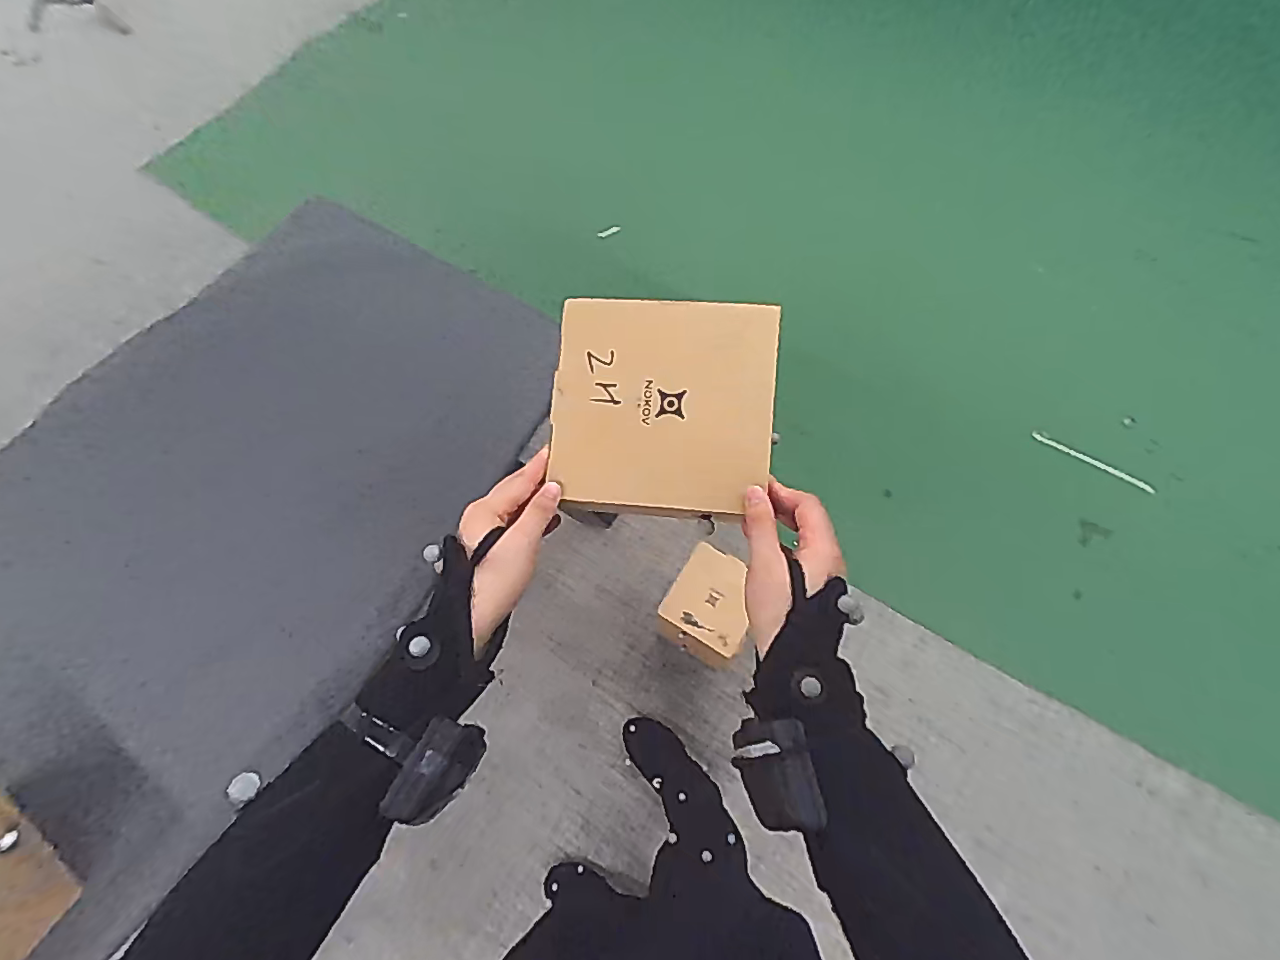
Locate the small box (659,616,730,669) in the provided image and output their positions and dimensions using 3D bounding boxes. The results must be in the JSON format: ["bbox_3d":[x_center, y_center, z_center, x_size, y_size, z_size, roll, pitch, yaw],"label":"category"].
[{"bbox_3d":[0.160,0.327,1.271,0.179,0.176,0.168,28,71,15],"label":"small box"}]

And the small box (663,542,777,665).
[{"bbox_3d":[0.156,0.261,1.120,0.168,0.176,0.179,31,72,14],"label":"small box"}]
